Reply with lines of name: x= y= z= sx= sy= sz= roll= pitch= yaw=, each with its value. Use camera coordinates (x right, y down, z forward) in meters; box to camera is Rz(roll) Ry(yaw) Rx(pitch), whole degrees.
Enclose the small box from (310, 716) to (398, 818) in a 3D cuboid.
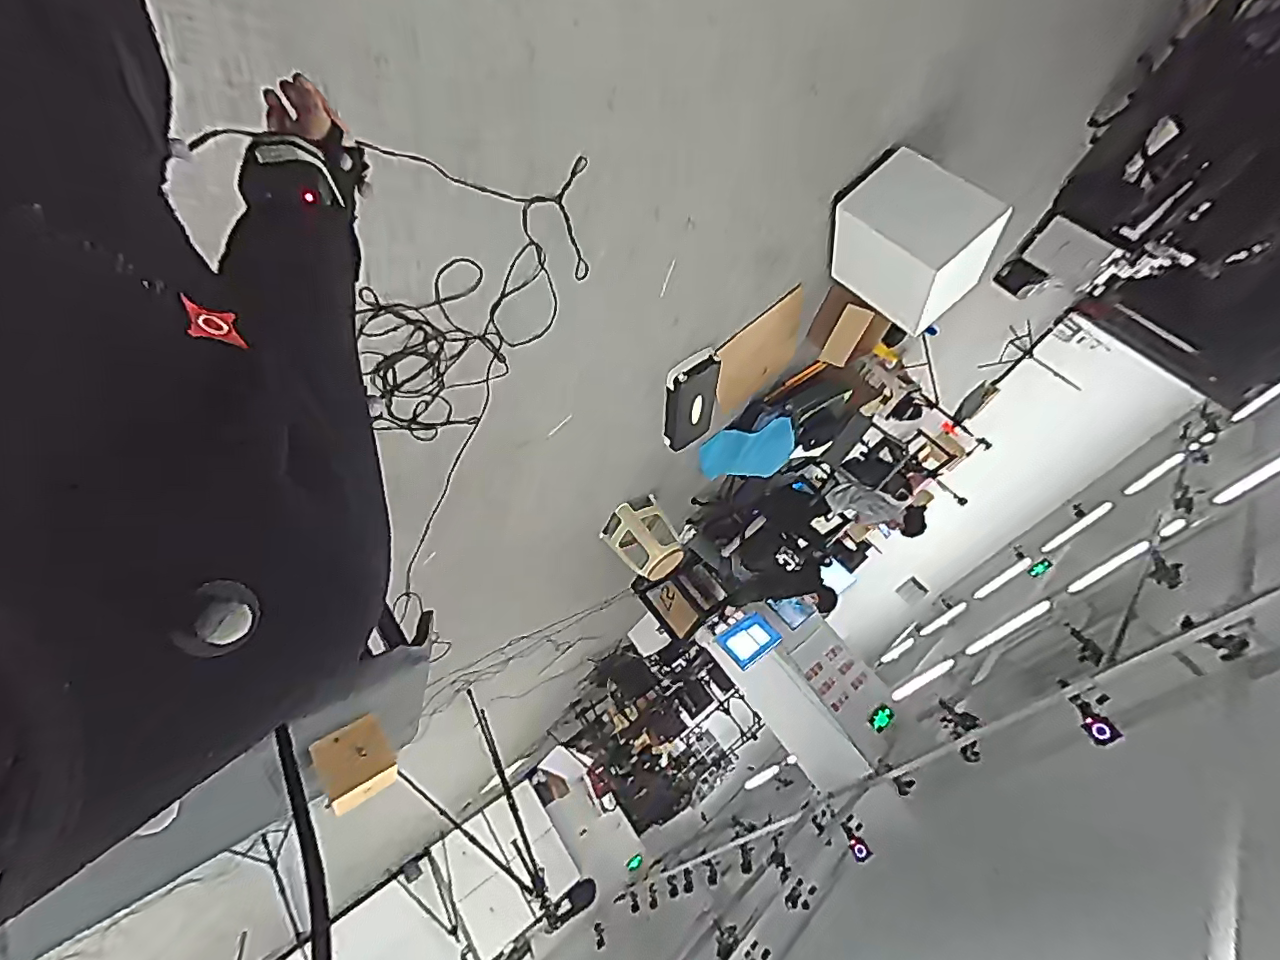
small box: x=-0.783 y=0.779 z=1.482 sx=0.168 sy=0.176 sz=0.179 roll=-22 pitch=152 yaw=-38
